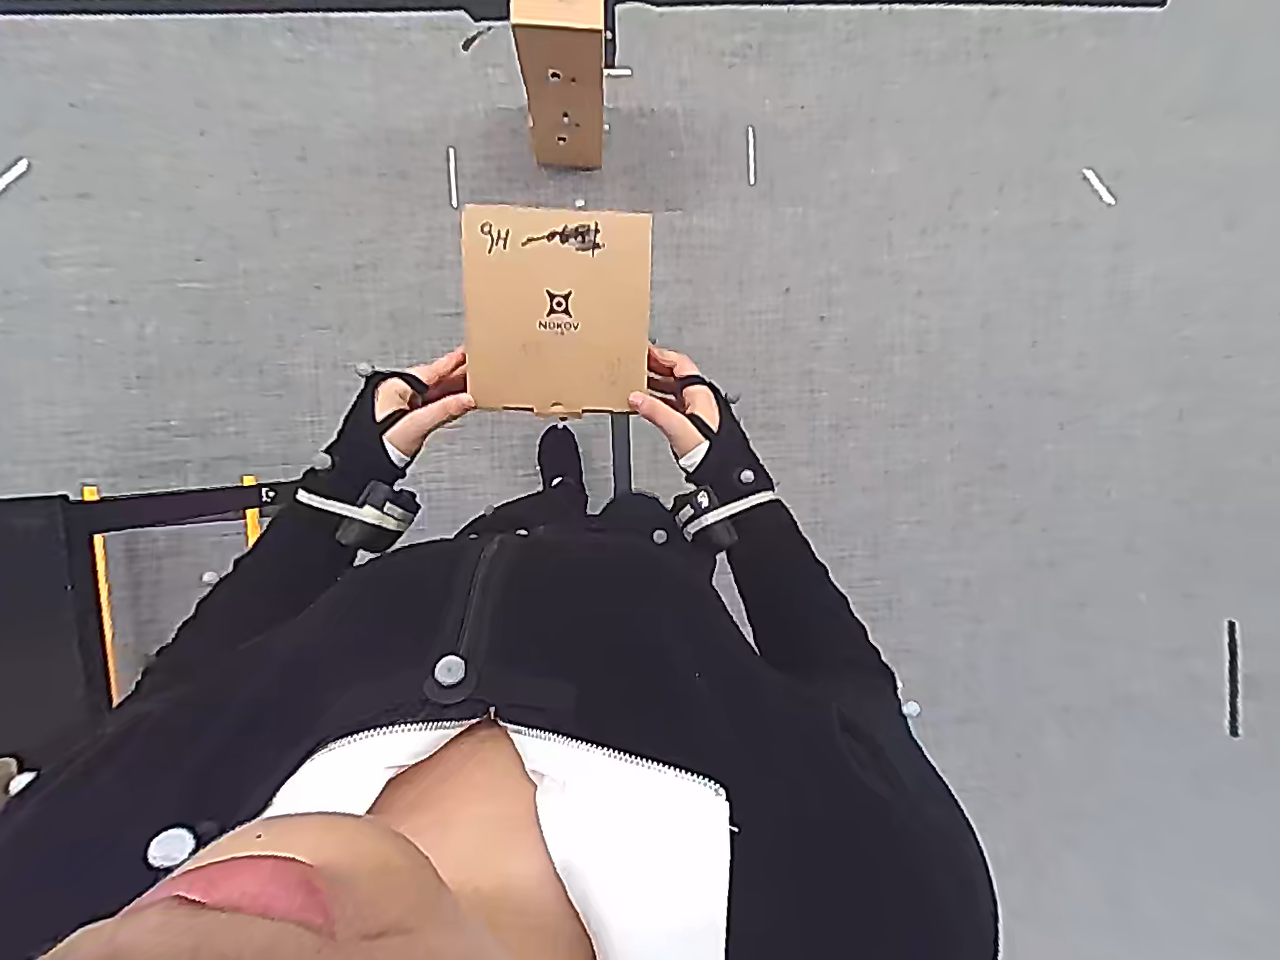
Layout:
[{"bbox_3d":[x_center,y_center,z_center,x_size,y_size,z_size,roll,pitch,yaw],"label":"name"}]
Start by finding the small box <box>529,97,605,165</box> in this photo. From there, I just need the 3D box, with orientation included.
[{"bbox_3d":[-0.177,-0.913,1.347,0.179,0.176,0.168,1,93,-5],"label":"small box"}]

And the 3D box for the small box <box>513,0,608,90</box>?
[{"bbox_3d":[-0.145,-0.887,1.022,0.168,0.176,0.179,0,94,-4],"label":"small box"}]

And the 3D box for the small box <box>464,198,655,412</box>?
[{"bbox_3d":[-0.077,-0.171,0.558,0.168,0.176,0.179,1,104,-4],"label":"small box"}]

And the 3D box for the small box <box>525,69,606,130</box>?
[{"bbox_3d":[-0.158,-0.909,1.184,0.168,0.176,0.179,0,93,-4],"label":"small box"}]
